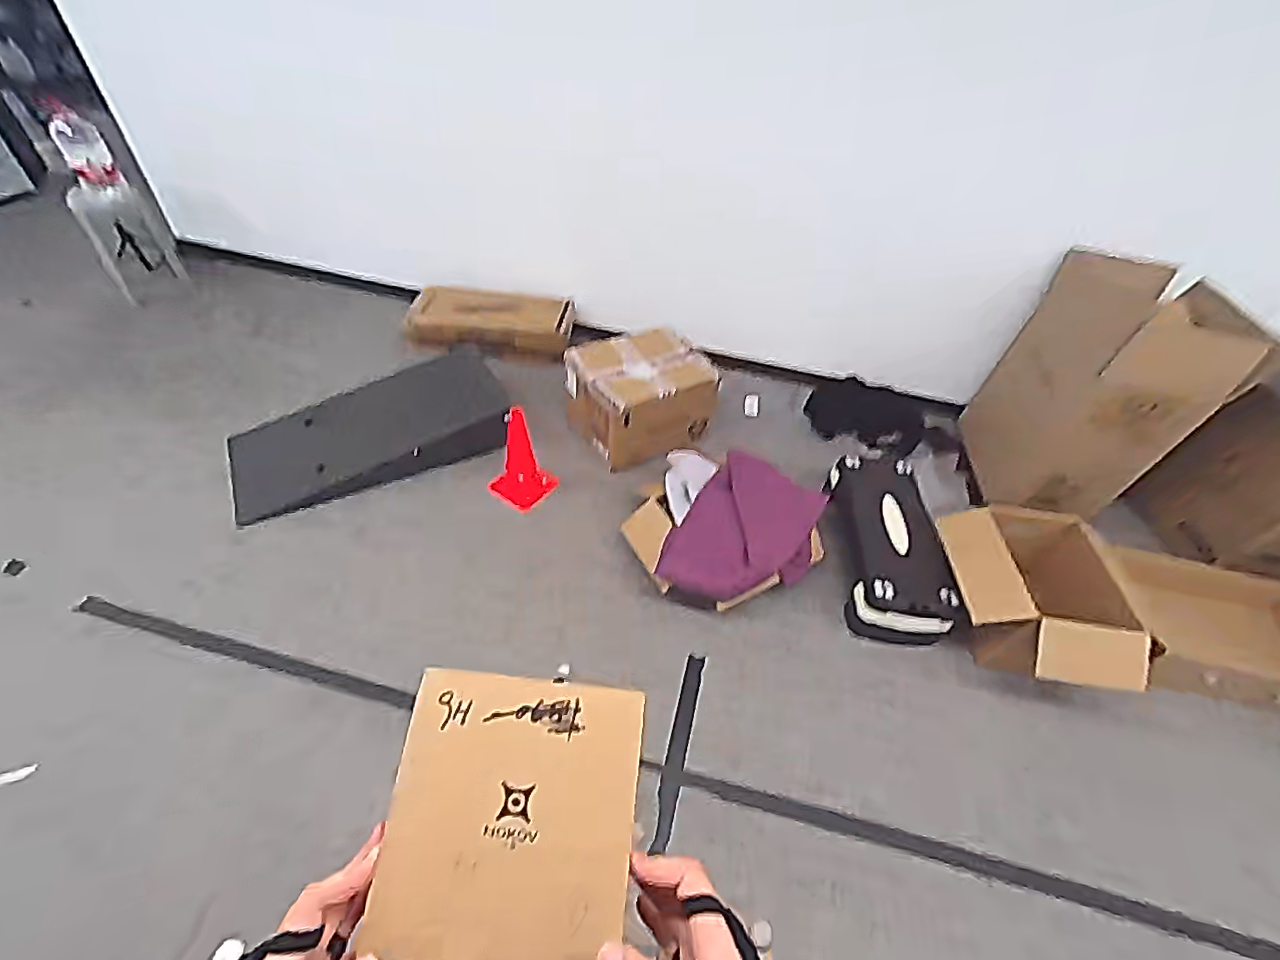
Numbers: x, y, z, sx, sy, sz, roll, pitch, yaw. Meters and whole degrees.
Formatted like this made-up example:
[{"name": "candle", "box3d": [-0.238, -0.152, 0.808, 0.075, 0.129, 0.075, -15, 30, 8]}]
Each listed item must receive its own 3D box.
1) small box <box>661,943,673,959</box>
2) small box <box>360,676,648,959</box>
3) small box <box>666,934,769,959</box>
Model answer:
[{"name": "small box", "box3d": [0.110, 1.017, 1.020, 0.179, 0.176, 0.168, 16, 46, 8]}, {"name": "small box", "box3d": [-0.087, 0.260, 0.435, 0.168, 0.176, 0.179, 7, 70, 0]}, {"name": "small box", "box3d": [0.120, 0.901, 0.906, 0.168, 0.176, 0.179, 11, 46, 6]}]
